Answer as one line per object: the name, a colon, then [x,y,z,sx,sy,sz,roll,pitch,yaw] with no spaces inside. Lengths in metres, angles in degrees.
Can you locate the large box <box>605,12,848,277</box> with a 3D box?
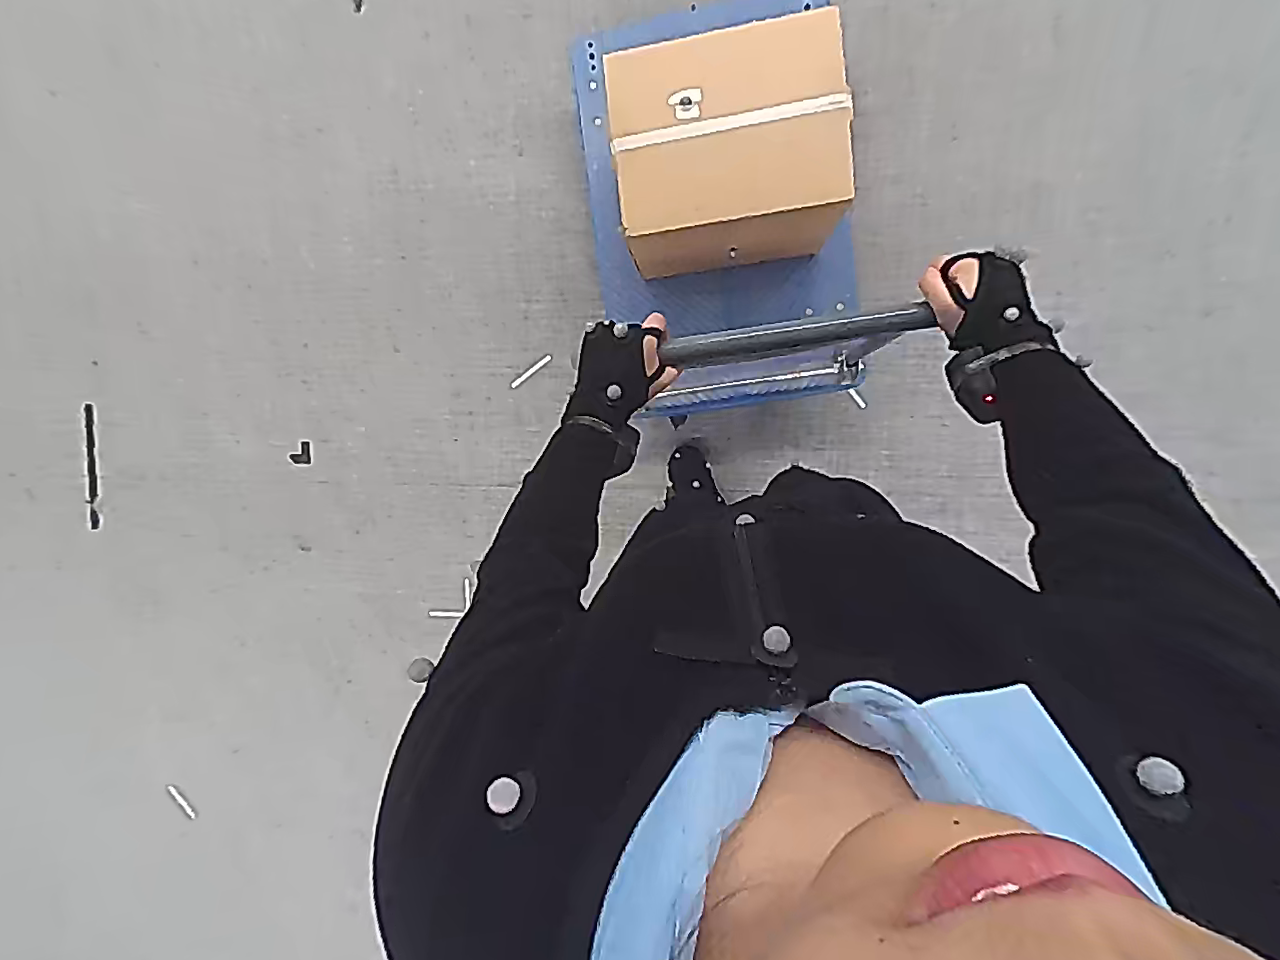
large box: [0.171,-0.638,1.104,0.408,0.320,0.320,-6,94,8]
